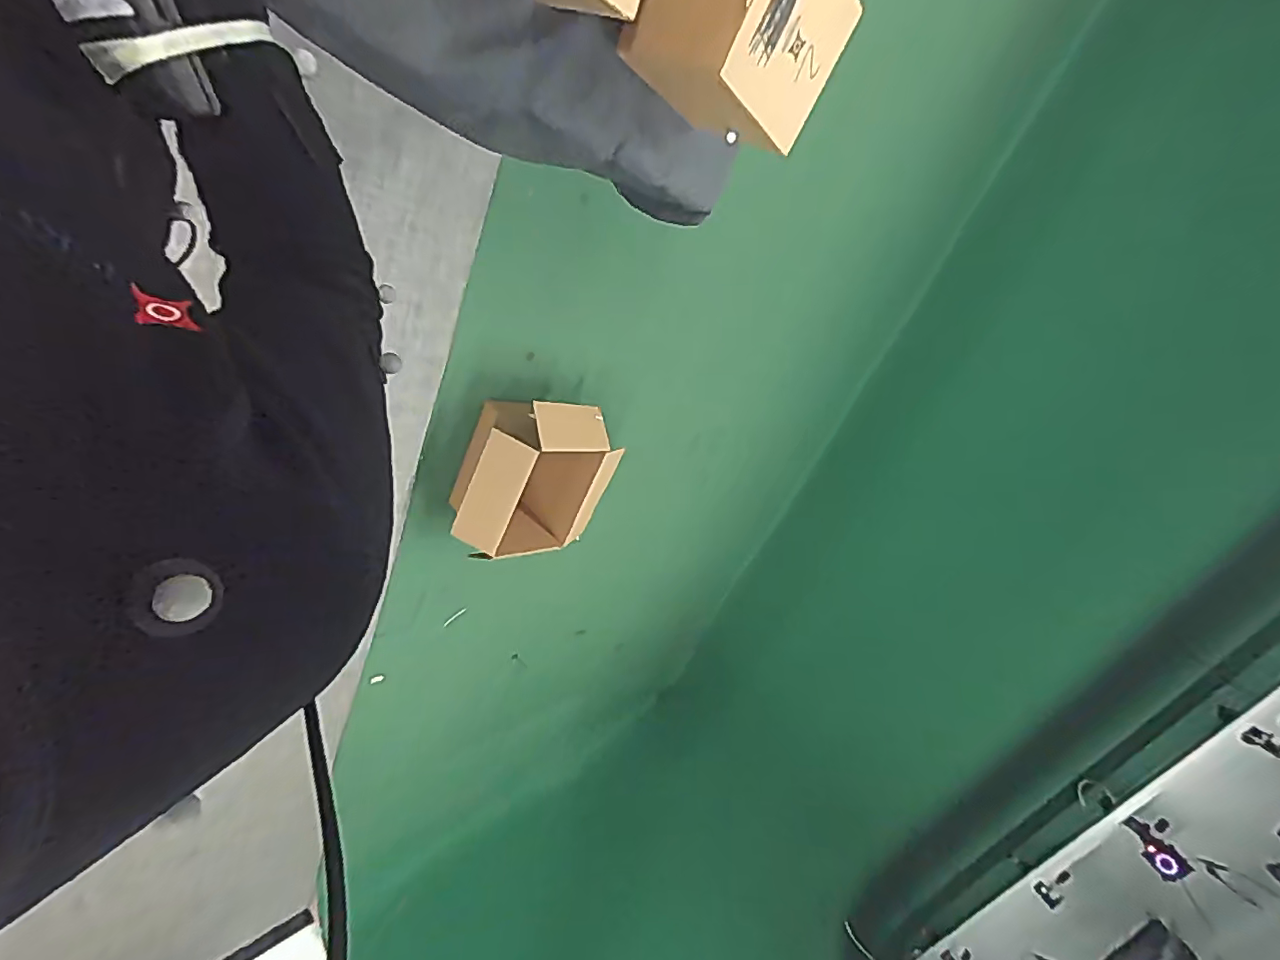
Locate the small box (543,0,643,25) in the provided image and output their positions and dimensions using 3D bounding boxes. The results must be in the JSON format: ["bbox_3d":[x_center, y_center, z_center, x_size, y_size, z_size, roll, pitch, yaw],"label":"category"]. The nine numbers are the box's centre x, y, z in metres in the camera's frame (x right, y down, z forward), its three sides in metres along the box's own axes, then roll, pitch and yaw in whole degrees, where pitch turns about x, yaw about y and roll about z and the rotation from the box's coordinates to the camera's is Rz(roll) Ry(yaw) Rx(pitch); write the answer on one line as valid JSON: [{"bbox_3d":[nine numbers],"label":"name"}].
[{"bbox_3d":[-0.084,-0.488,0.400,0.179,0.176,0.168,-9,131,-48],"label":"small box"}]
